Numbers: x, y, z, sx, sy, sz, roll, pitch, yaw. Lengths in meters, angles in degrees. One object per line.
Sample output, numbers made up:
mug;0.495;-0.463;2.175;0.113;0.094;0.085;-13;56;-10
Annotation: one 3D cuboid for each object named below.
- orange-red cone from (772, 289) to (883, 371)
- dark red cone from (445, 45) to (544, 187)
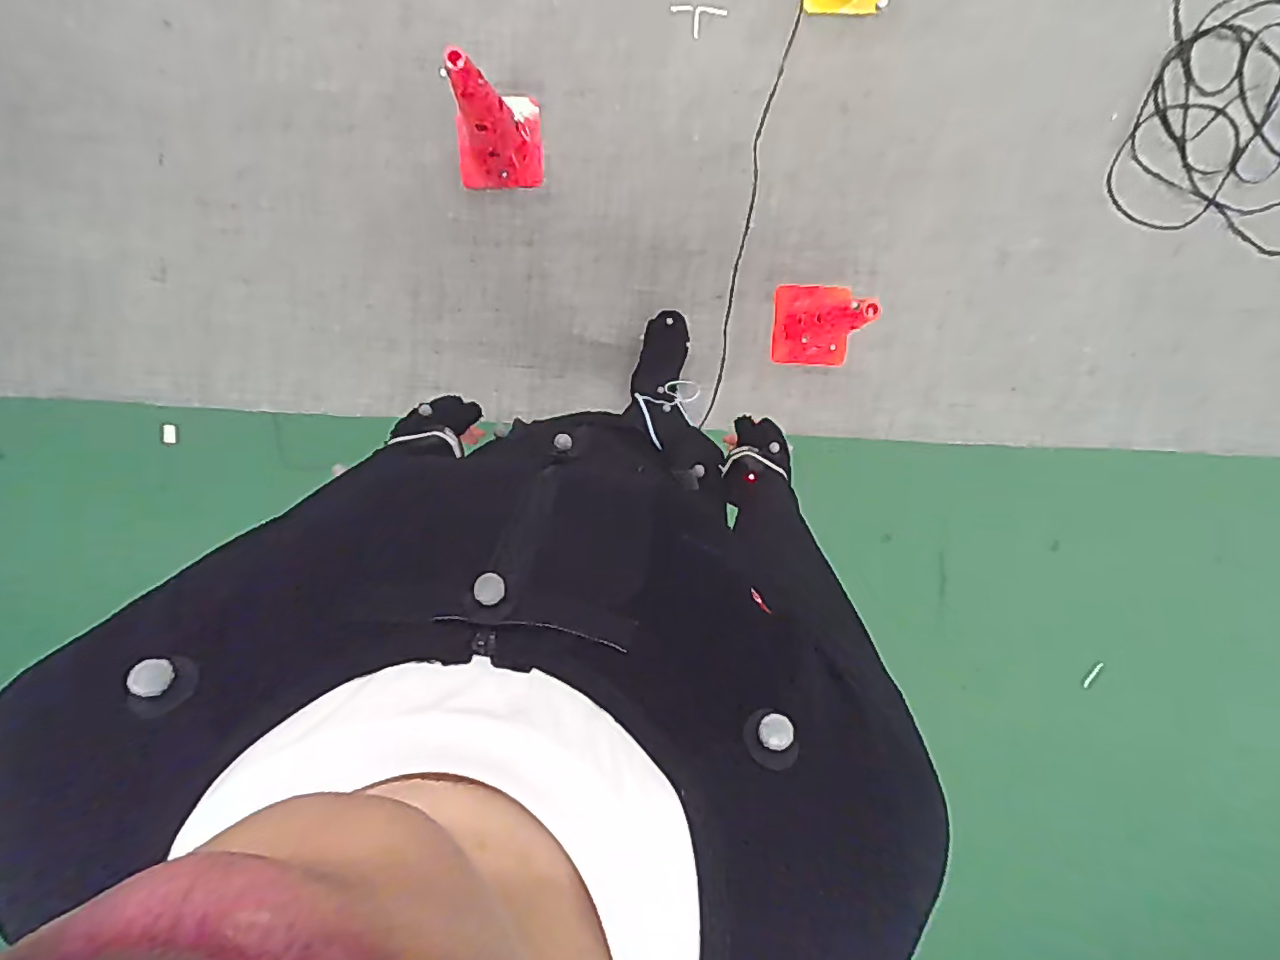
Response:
orange-red cone;0.455;-0.363;1.246;0.198;0.360;0.199;3;99;-3
dark red cone;-0.328;-0.774;1.124;0.202;0.394;0.201;-3;102;-1
